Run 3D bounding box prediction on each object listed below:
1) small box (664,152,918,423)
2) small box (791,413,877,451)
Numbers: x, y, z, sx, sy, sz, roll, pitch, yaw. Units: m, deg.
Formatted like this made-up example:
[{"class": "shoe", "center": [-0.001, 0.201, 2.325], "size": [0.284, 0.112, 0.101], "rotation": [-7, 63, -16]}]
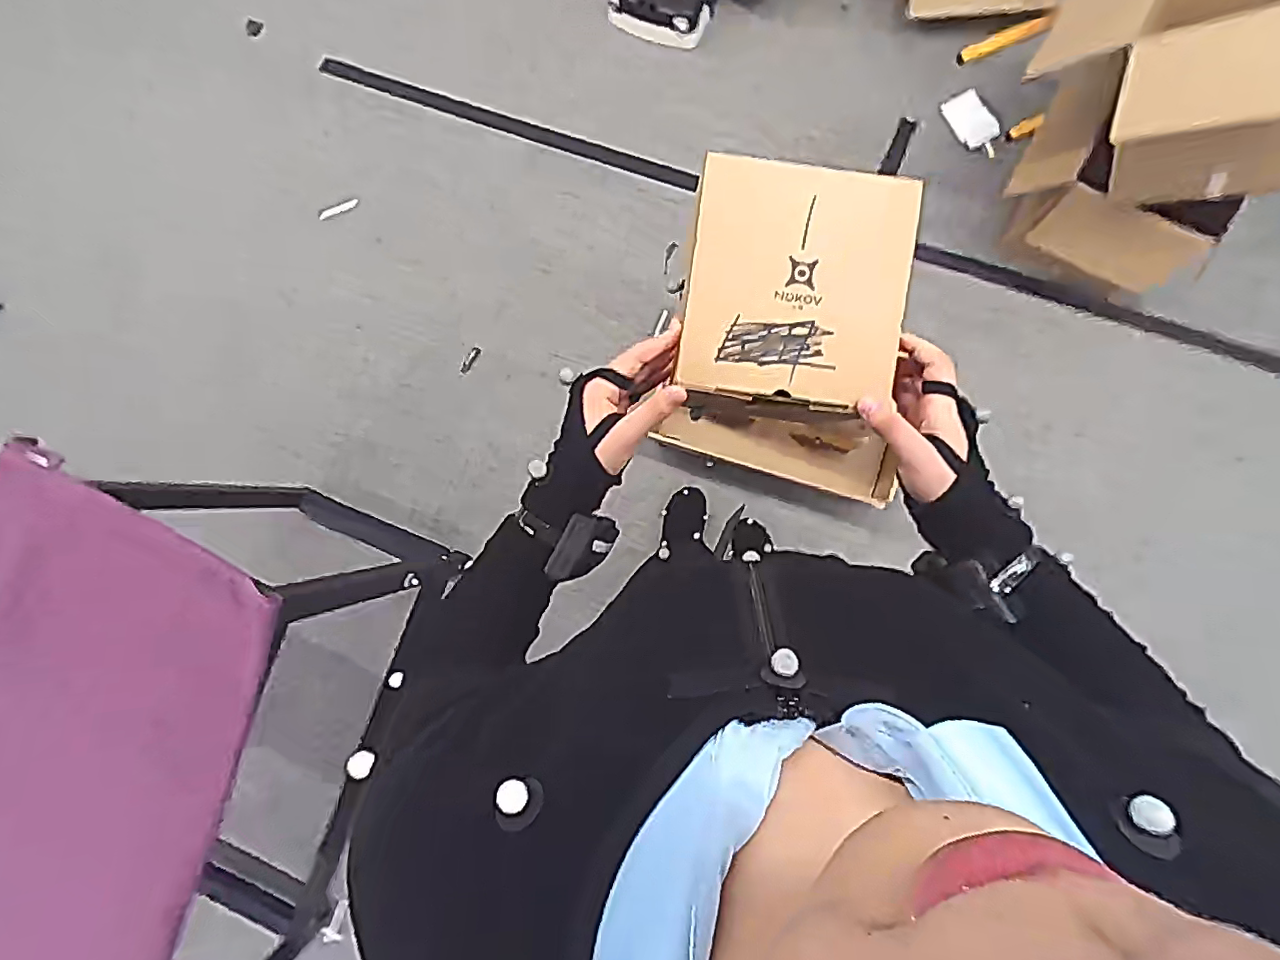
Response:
[{"class": "small box", "center": [0.114, -0.149, 0.483], "size": [0.168, 0.176, 0.179], "rotation": [7, 92, -1]}, {"class": "small box", "center": [0.489, -0.182, 1.353], "size": [0.168, 0.176, 0.179], "rotation": [18, 90, 8]}]
